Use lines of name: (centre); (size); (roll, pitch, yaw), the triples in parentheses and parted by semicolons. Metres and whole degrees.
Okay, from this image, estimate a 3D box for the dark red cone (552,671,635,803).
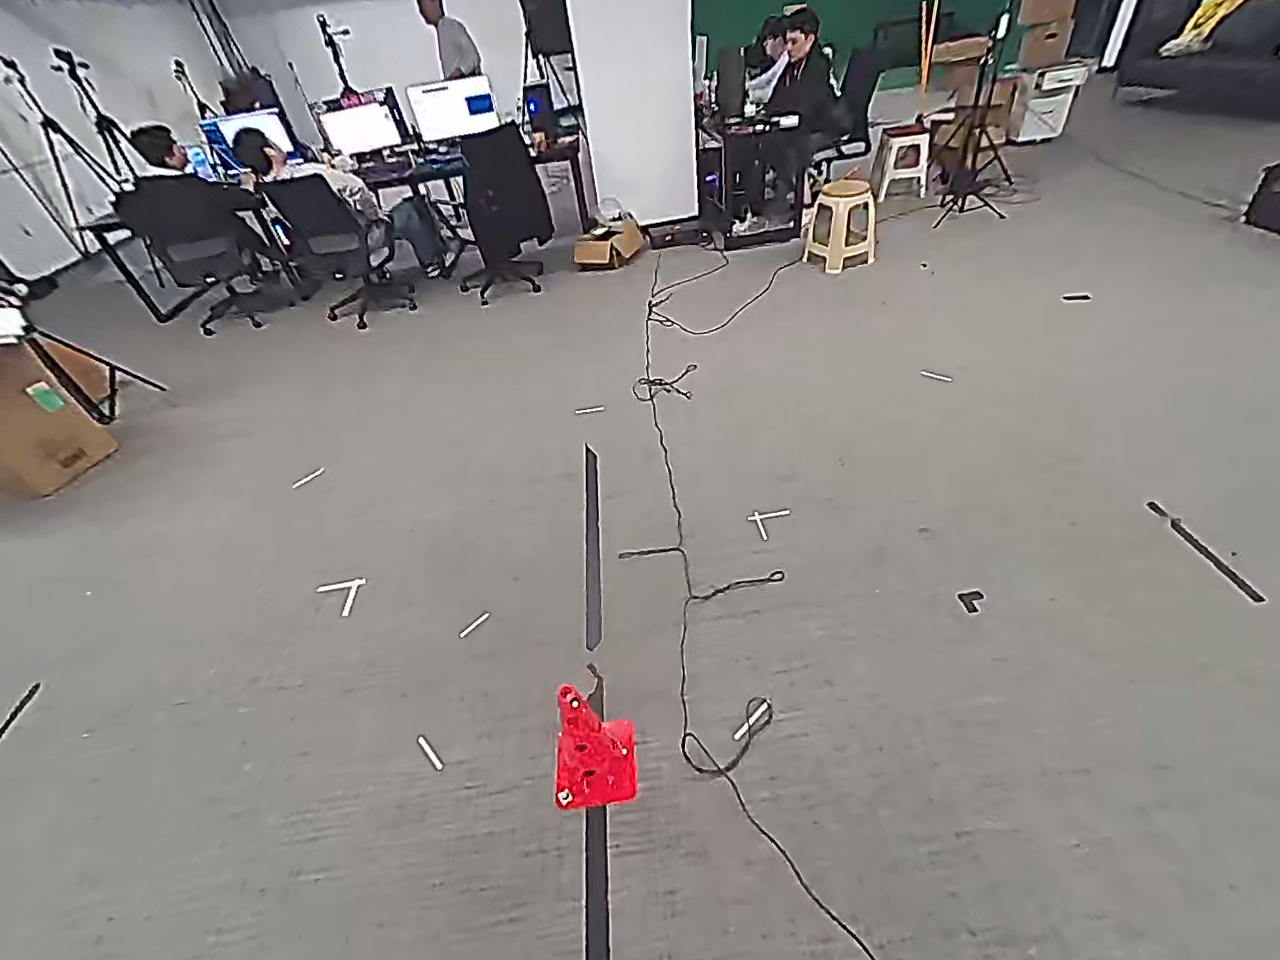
dark red cone: (-0.135, 0.564, 1.241); (0.201, 0.394, 0.202); (-8, 40, 0)
